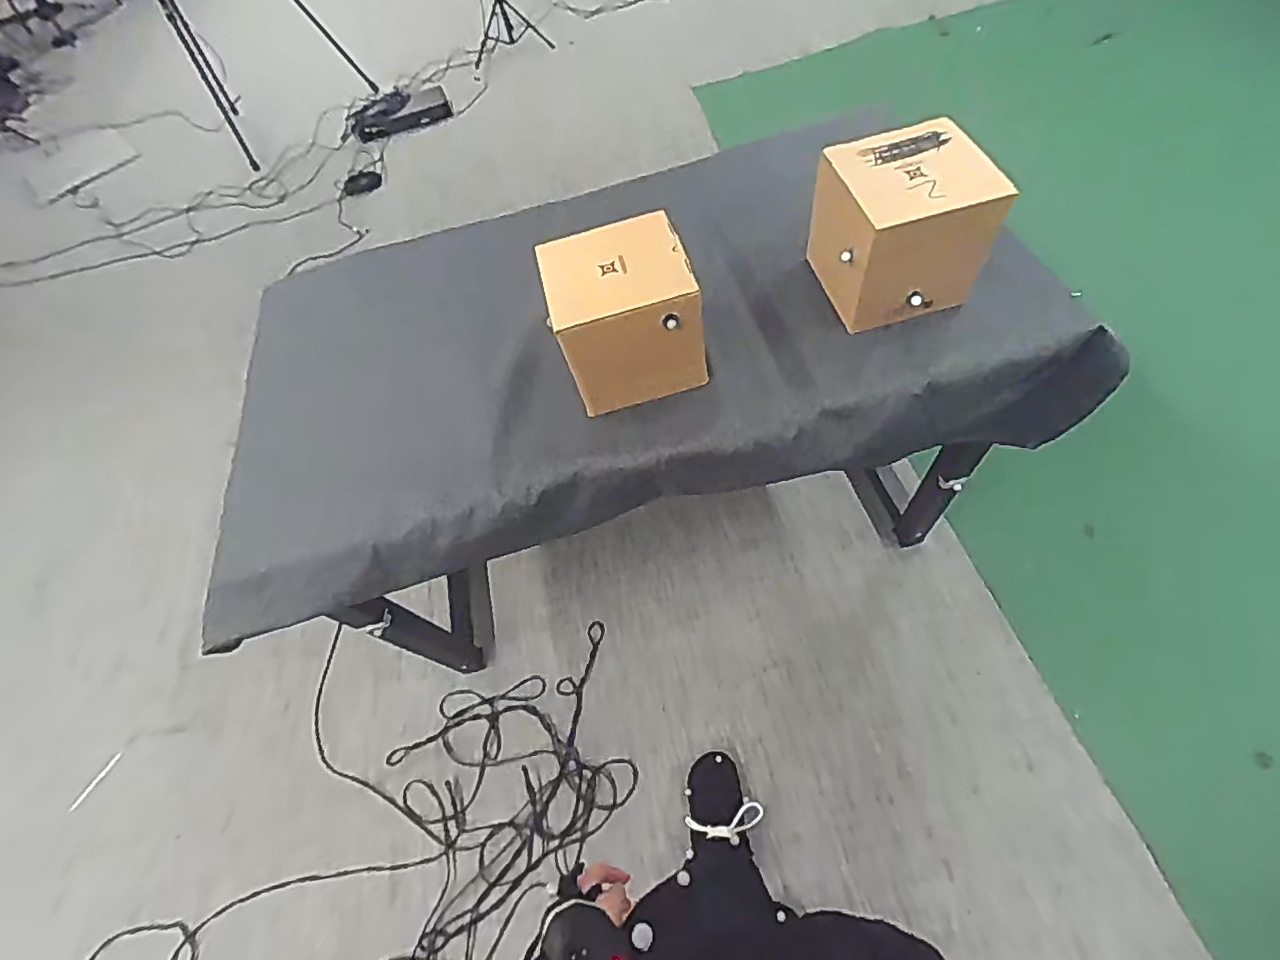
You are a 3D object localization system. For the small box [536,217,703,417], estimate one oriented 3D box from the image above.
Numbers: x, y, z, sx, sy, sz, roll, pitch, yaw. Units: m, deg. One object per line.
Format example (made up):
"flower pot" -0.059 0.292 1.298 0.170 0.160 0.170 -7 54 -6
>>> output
"small box" -0.023 -0.209 0.722 0.179 0.176 0.168 -16 58 0
